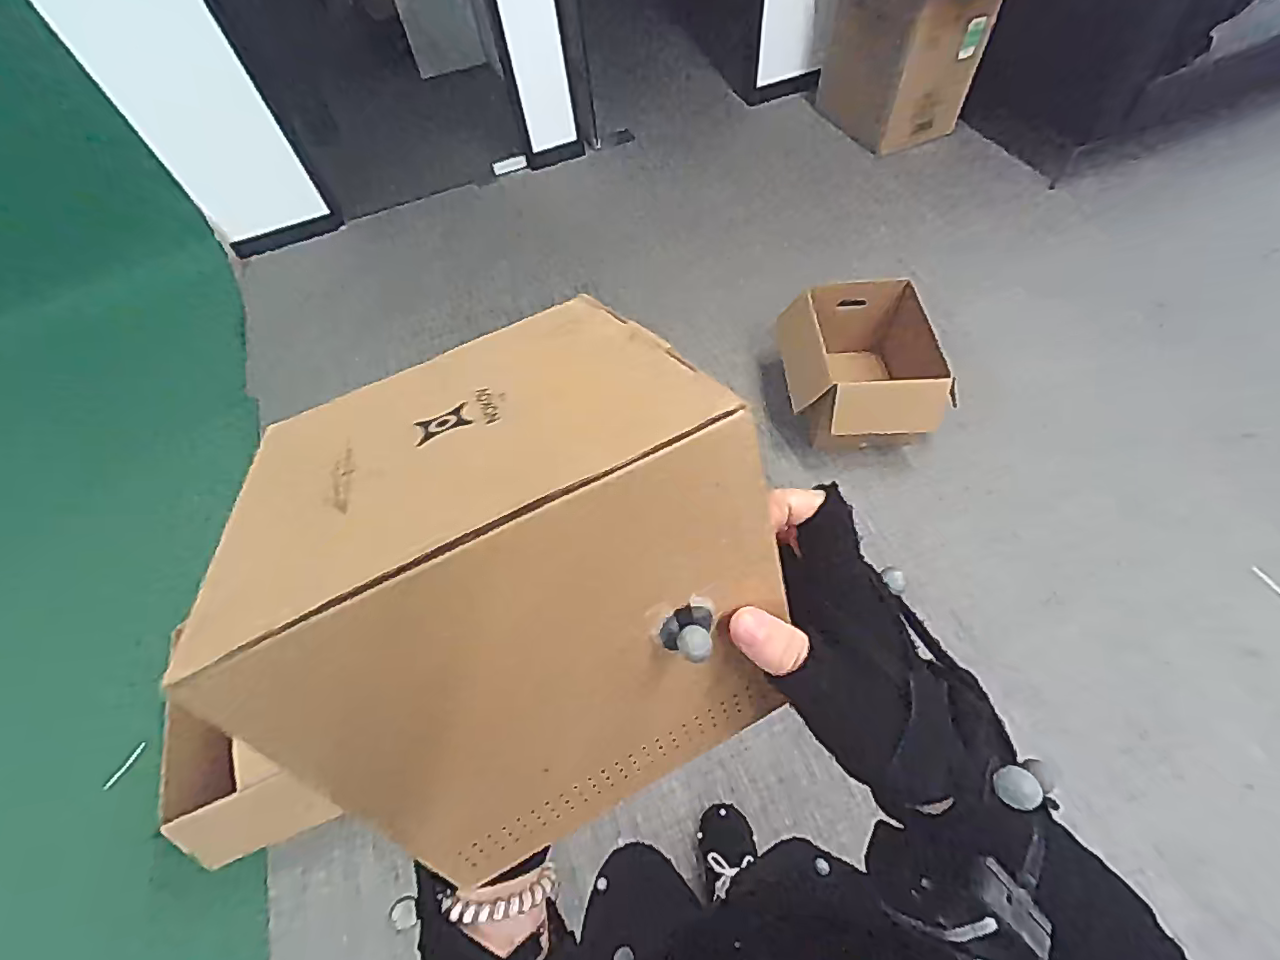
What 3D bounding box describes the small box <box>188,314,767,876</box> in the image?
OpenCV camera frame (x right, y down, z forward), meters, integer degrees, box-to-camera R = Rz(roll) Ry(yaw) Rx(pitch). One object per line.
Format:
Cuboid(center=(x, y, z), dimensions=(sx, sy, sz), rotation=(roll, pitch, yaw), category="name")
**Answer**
Cuboid(center=(-0.052, 0.045, 0.268), dimensions=(0.179, 0.176, 0.168), rotation=(-26, 35, -9), category="small box")
